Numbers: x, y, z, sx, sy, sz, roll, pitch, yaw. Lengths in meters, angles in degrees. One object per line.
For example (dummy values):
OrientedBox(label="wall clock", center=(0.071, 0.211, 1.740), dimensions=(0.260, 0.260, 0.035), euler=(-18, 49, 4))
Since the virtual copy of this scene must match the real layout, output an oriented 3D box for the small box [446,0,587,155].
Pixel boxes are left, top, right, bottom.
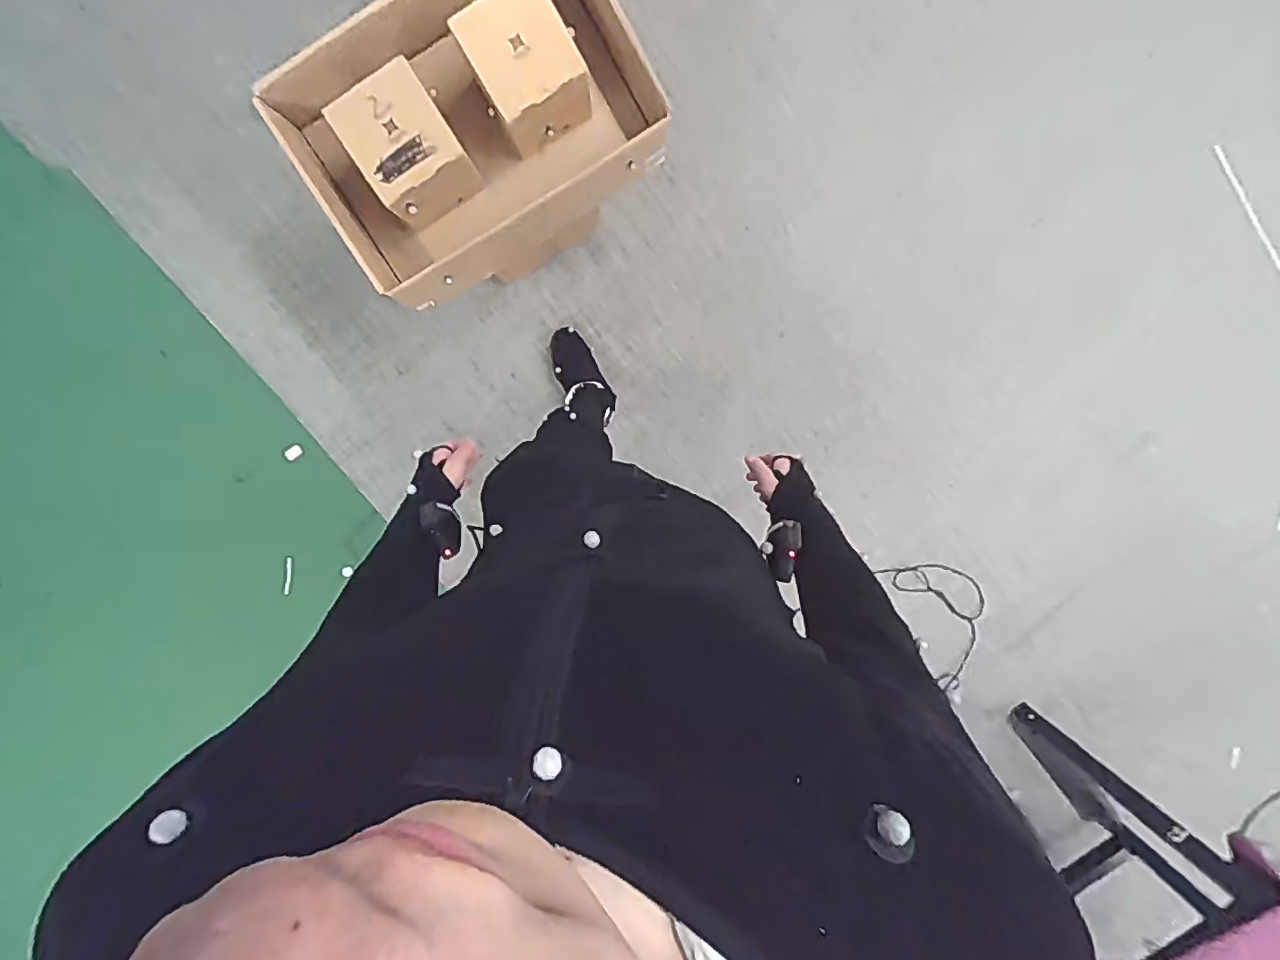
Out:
OrientedBox(label="small box", center=(-0.208, -0.724, 0.957), dimensions=(0.168, 0.176, 0.179), euler=(-31, 103, 3))
